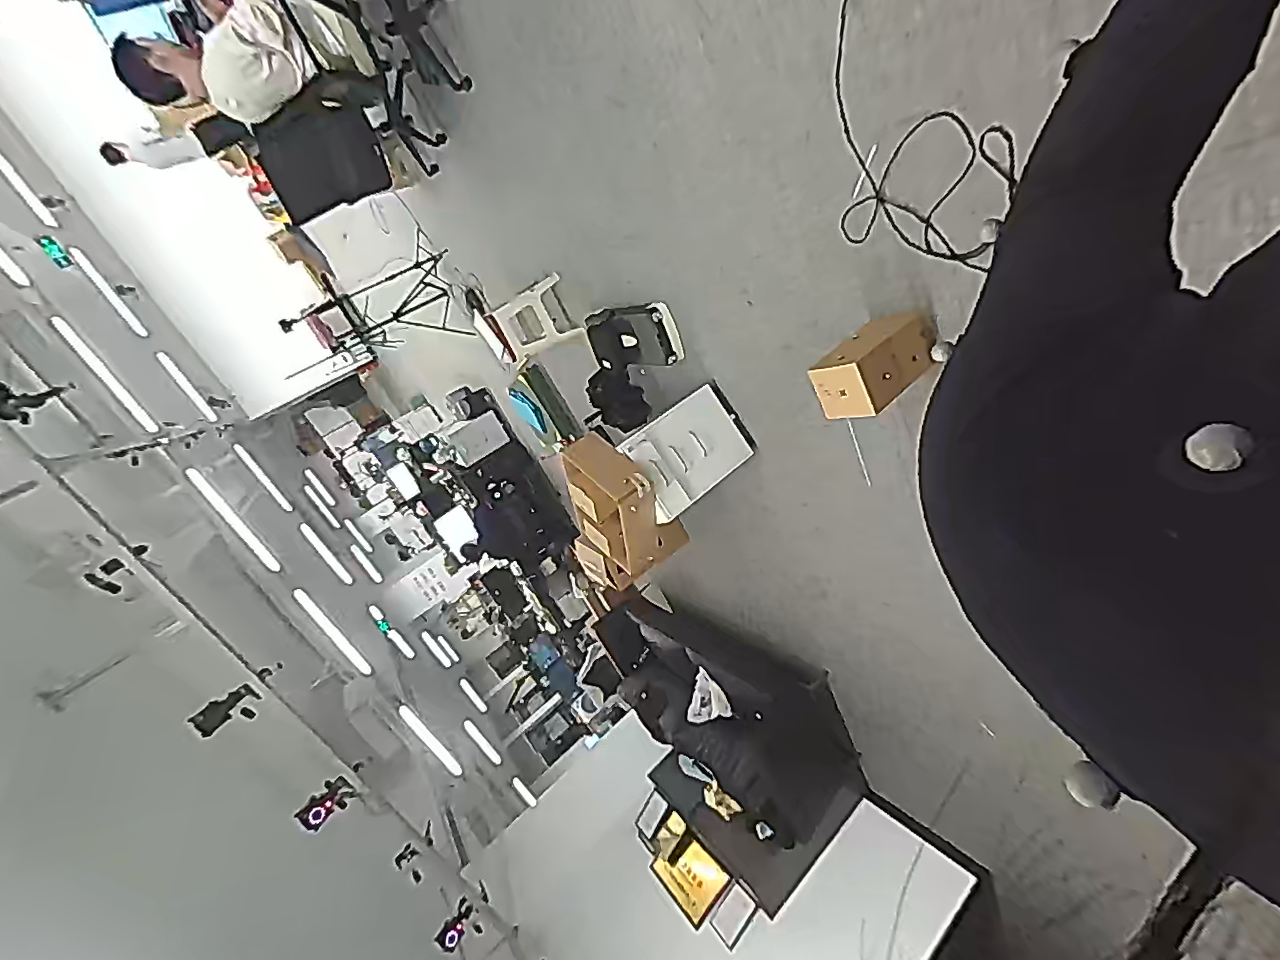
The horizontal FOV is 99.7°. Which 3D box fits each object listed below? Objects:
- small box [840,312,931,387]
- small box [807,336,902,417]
[{"bbox_3d":[0.744,-0.387,1.625,0.179,0.176,0.168,10,133,60],"label":"small box"},{"bbox_3d":[0.624,-0.297,1.555,0.179,0.176,0.168,8,131,61],"label":"small box"}]
